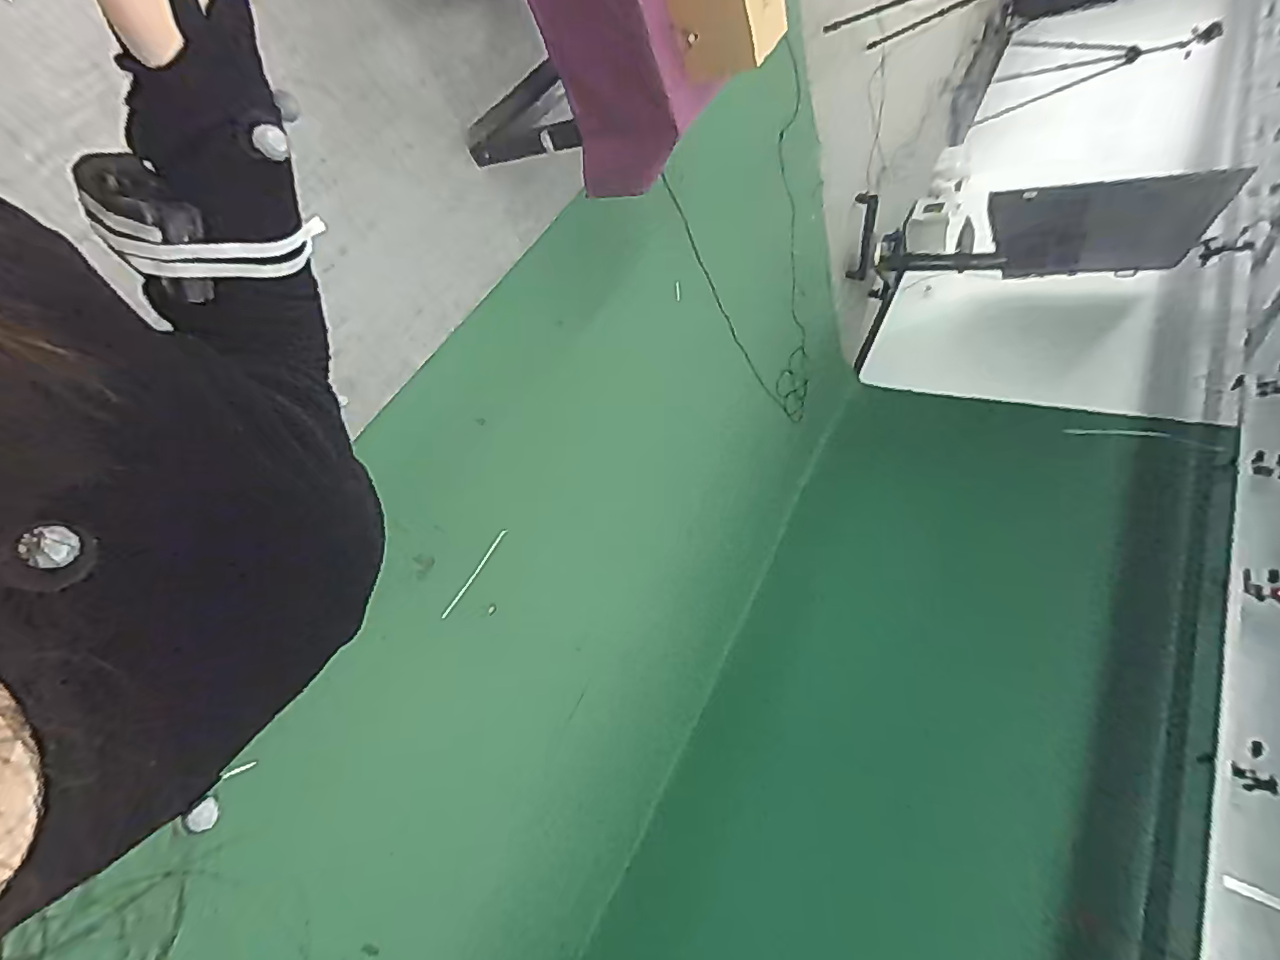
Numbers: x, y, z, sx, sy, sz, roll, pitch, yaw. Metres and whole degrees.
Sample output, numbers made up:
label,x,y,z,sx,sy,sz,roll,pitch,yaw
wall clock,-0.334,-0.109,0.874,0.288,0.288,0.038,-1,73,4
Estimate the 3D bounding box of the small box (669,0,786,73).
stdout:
label,x,y,z,sx,sy,sz,roll,pitch,yaw
small box,0.181,-0.982,1.122,0.168,0.176,0.179,-60,143,-22
